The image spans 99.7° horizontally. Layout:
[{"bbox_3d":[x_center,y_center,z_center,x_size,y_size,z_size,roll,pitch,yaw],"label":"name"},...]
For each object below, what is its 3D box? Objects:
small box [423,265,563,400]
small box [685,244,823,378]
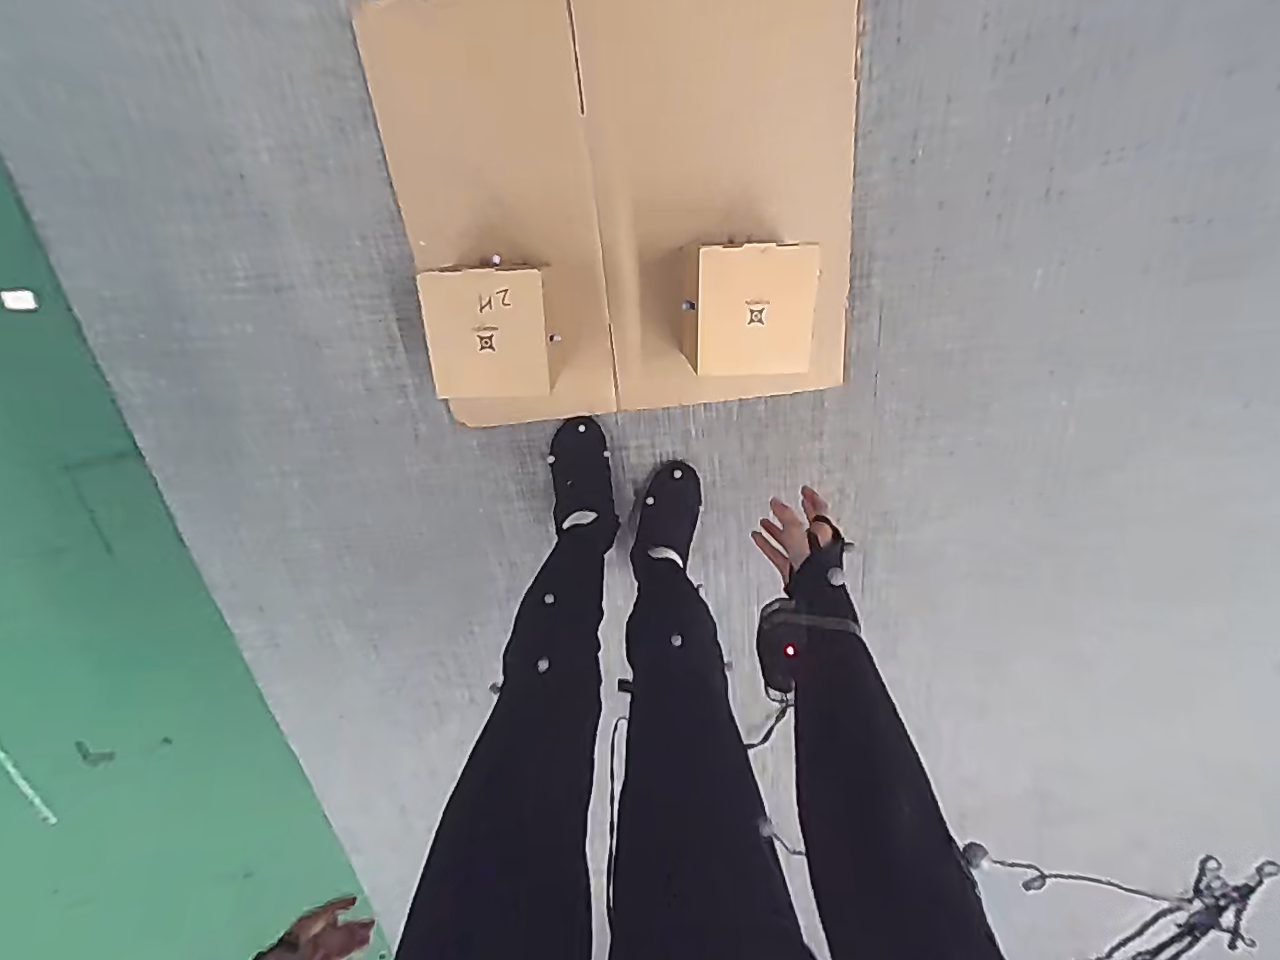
[{"bbox_3d":[-0.209,-0.229,0.821,0.168,0.176,0.179,-1,113,-2],"label":"small box"},{"bbox_3d":[0.161,-0.261,0.821,0.168,0.176,0.179,-3,112,-2],"label":"small box"}]
